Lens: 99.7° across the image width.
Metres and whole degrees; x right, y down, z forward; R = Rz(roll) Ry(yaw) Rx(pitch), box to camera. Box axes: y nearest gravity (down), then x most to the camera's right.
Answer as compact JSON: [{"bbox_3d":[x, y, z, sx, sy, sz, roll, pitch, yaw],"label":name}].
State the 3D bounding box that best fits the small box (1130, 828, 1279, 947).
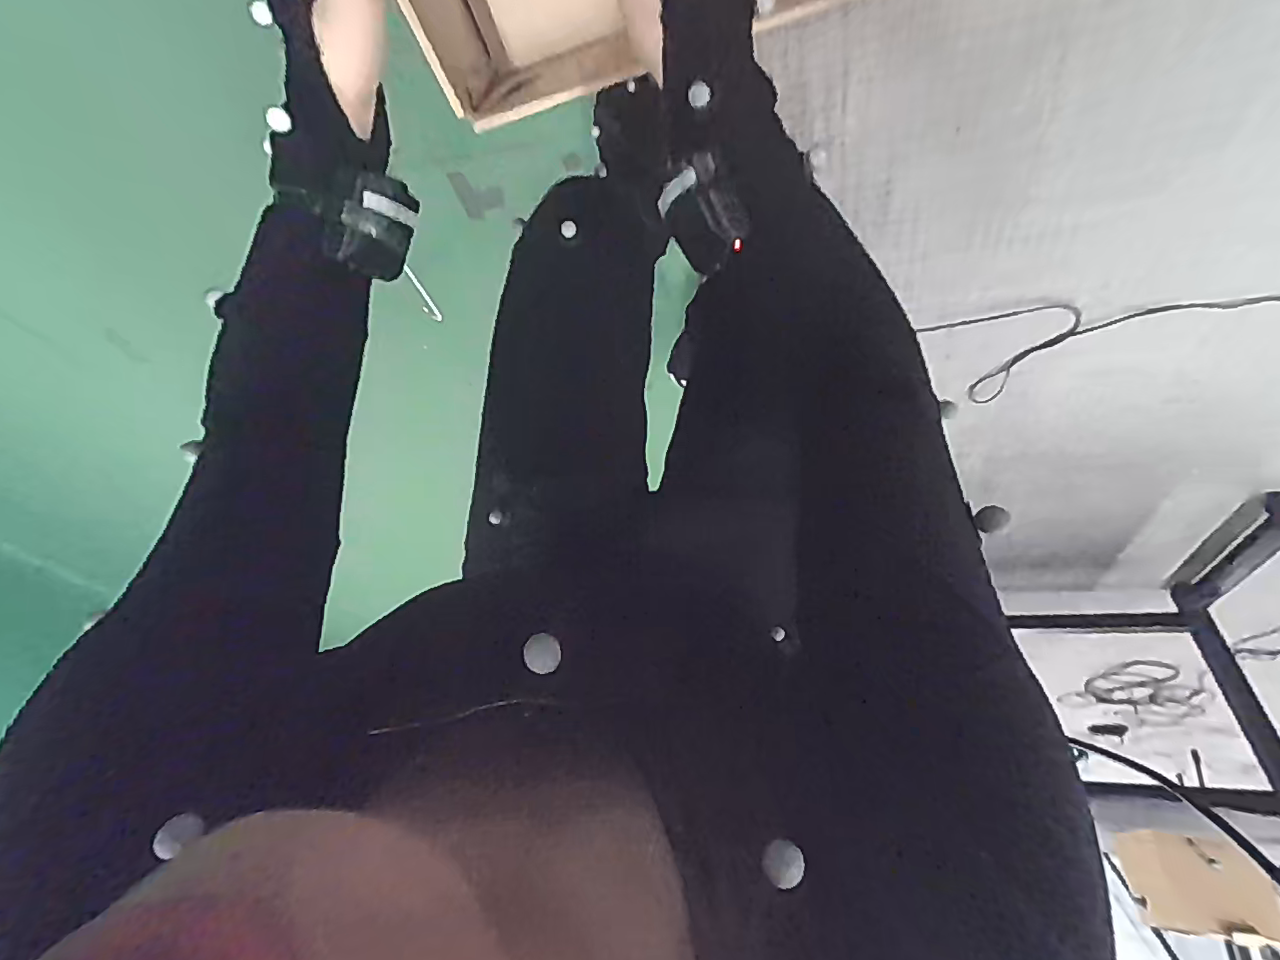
[{"bbox_3d":[1.131,0.803,1.072,0.168,0.176,0.179,-4,143,13],"label":"small box"}]
